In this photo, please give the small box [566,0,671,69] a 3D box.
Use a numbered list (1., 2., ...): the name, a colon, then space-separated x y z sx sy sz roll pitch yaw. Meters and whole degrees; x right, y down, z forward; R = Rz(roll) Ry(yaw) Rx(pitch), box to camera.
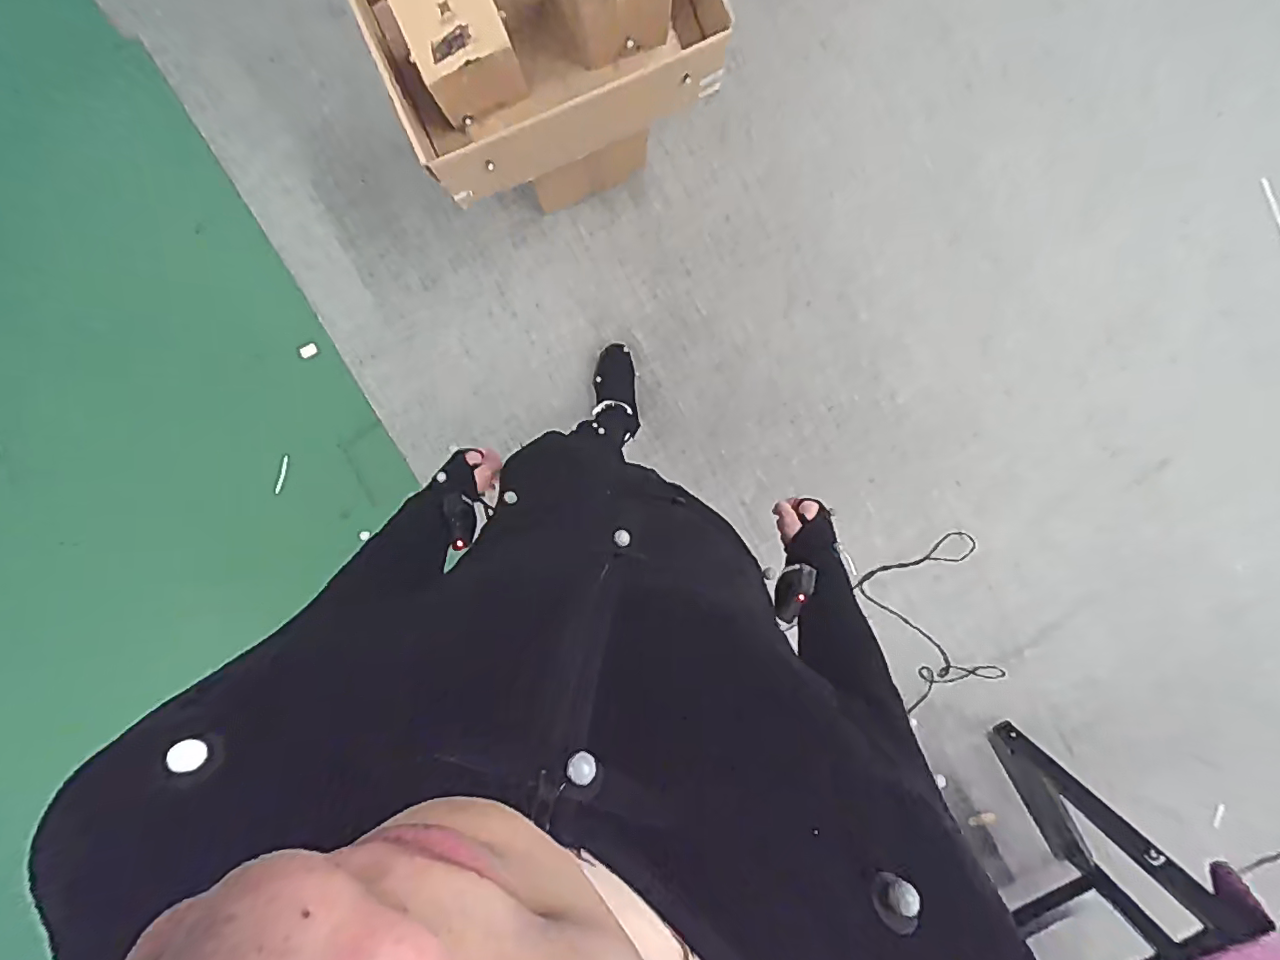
1. small box: -0.050 -0.904 0.976 0.168 0.176 0.179 -19 98 2
